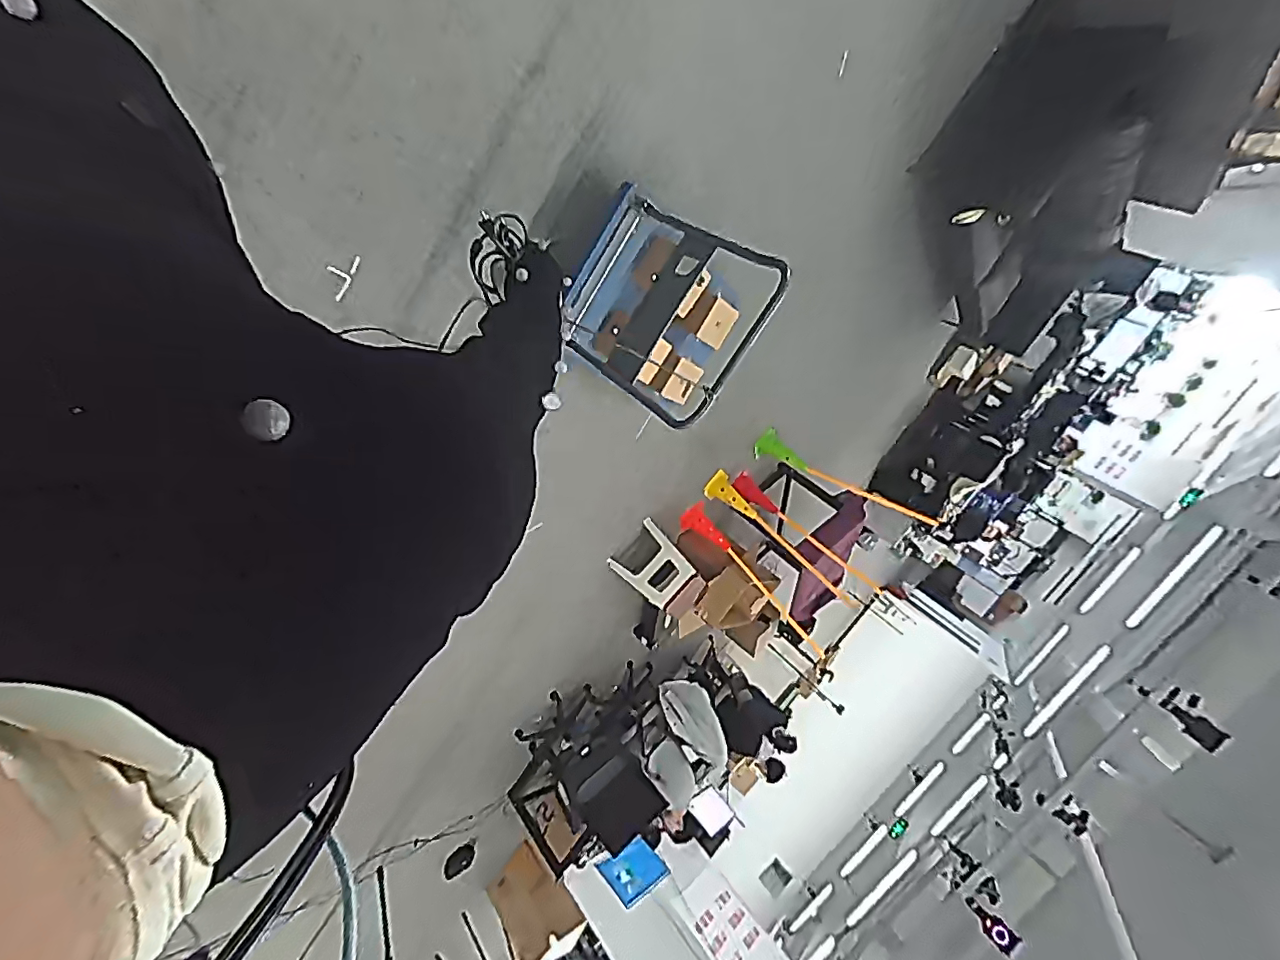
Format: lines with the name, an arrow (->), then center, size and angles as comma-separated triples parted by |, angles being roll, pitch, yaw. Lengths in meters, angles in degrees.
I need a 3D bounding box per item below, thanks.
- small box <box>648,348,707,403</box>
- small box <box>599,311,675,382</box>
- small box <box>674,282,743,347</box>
small box -> 0.131, -0.436, 2.169 | 0.179, 0.176, 0.168 | 14, 112, -53
small box -> -0.011, -0.485, 1.953 | 0.179, 0.176, 0.168 | 18, 109, -54
small box -> 0.264, -0.648, 2.108 | 0.179, 0.176, 0.168 | 10, 116, -53
